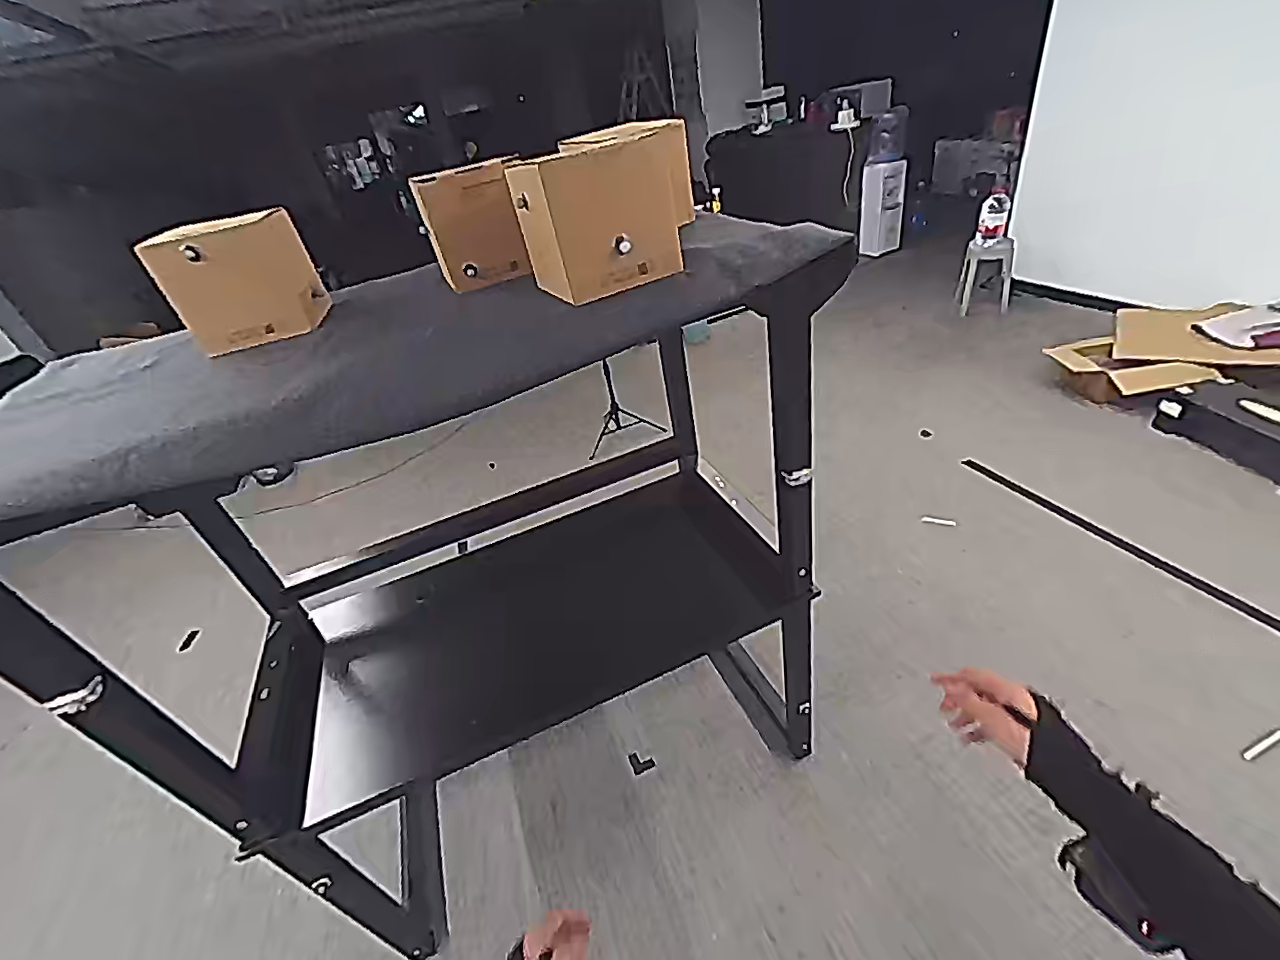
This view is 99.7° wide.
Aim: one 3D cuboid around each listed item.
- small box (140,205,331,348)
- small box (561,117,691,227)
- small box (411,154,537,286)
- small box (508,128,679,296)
[{"bbox_3d":[-0.630,-0.331,0.875,0.168,0.176,0.179,-18,35,-8],"label":"small box"},{"bbox_3d":[-0.023,-0.559,1.009,0.168,0.176,0.179,-29,40,-21],"label":"small box"},{"bbox_3d":[-0.275,-0.447,0.931,0.168,0.176,0.179,-22,35,-14],"label":"small box"},{"bbox_3d":[-0.063,-0.366,0.748,0.168,0.176,0.179,-24,35,-15],"label":"small box"}]
